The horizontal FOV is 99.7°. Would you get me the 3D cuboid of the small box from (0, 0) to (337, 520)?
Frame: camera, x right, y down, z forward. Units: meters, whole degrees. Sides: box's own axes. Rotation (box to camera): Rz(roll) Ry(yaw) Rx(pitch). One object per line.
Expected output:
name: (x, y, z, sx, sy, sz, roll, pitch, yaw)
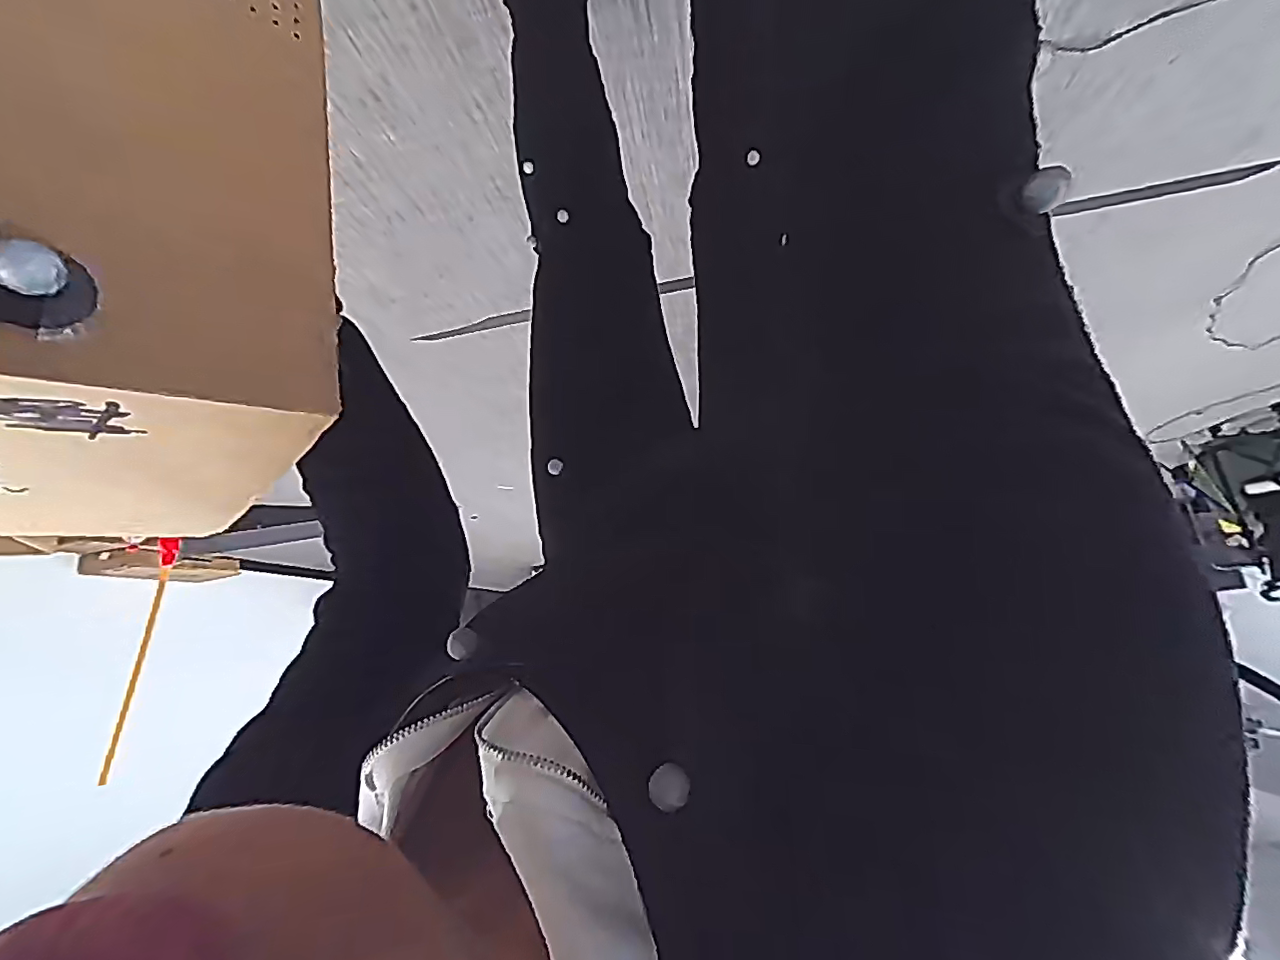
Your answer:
small box: (-0.219, -0.085, 0.179, 0.179, 0.176, 0.168, -19, 165, 40)
